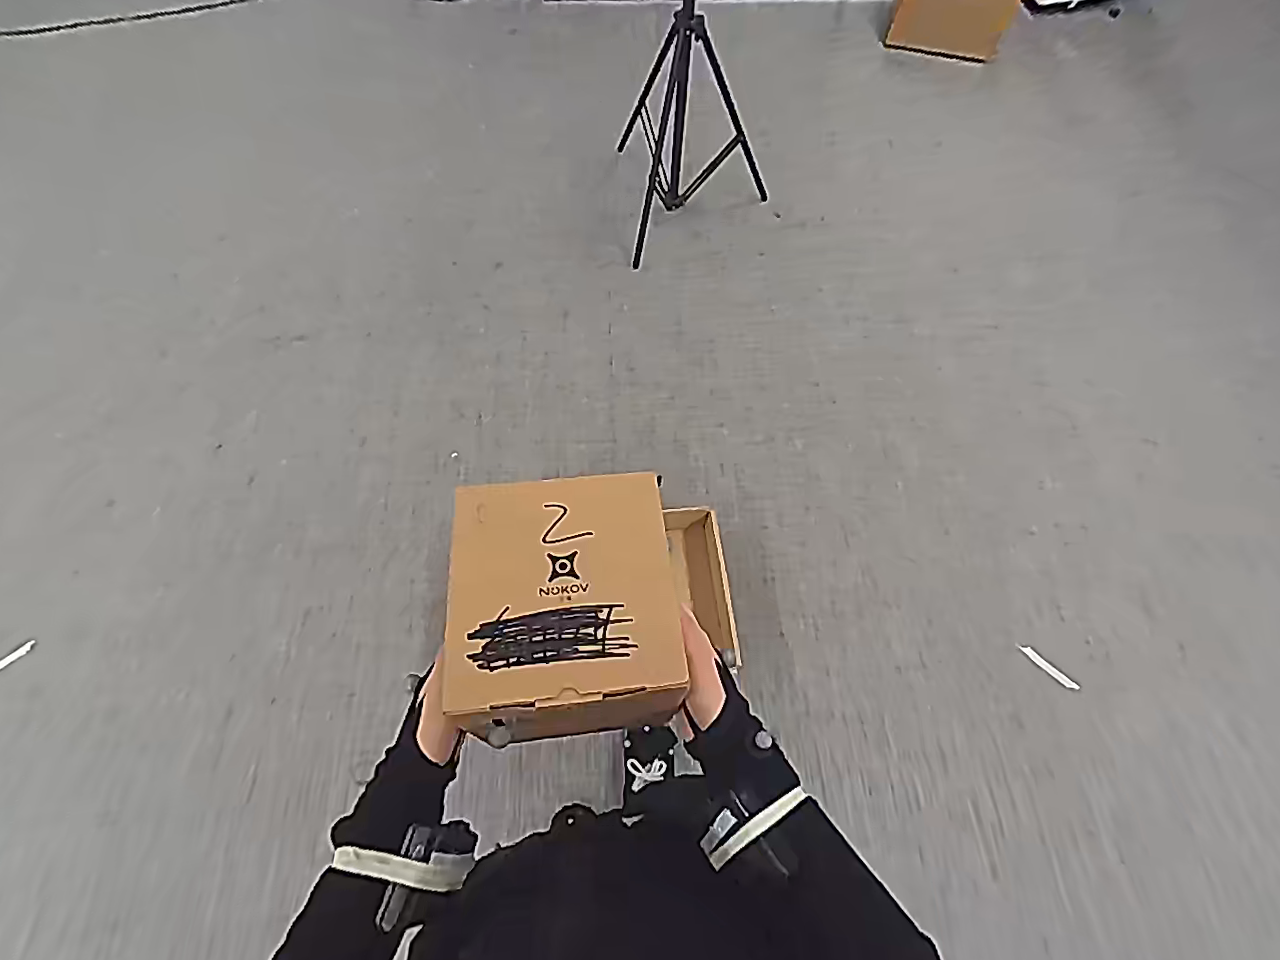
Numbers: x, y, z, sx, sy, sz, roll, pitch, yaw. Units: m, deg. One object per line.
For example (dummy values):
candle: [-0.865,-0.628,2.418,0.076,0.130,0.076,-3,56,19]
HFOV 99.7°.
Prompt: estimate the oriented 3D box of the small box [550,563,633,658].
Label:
small box: [-0.113,0.314,1.289,0.168,0.176,0.179,-11,68,-4]
